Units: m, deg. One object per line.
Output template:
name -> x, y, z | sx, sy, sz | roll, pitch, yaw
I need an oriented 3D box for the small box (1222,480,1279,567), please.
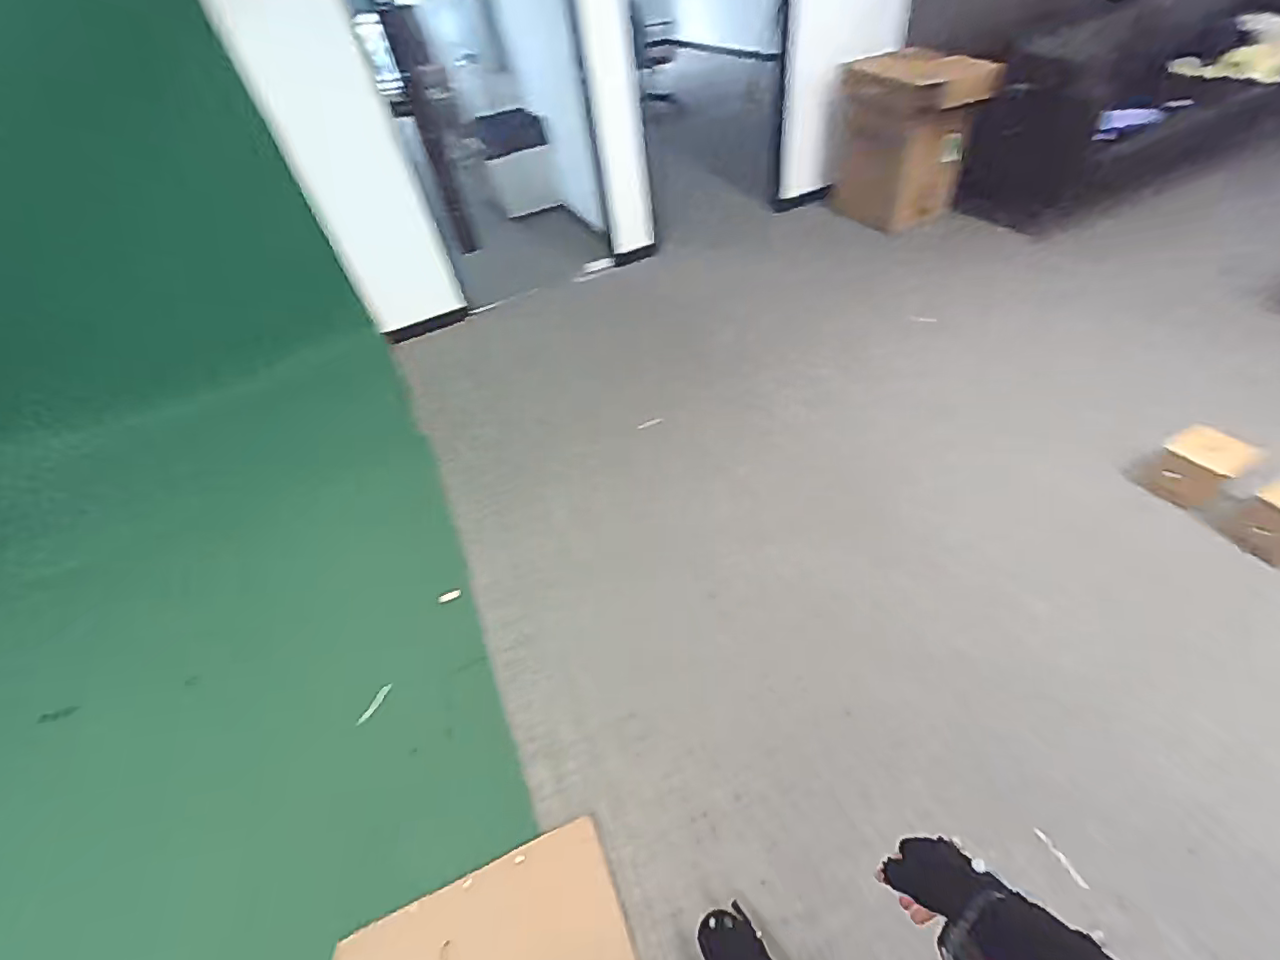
small box -> 1.815, 0.118, 1.517 | 0.179, 0.176, 0.168 | -19, 46, -8

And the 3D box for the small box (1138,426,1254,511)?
small box -> 1.718, -0.033, 1.686 | 0.179, 0.176, 0.168 | -27, 47, -16
